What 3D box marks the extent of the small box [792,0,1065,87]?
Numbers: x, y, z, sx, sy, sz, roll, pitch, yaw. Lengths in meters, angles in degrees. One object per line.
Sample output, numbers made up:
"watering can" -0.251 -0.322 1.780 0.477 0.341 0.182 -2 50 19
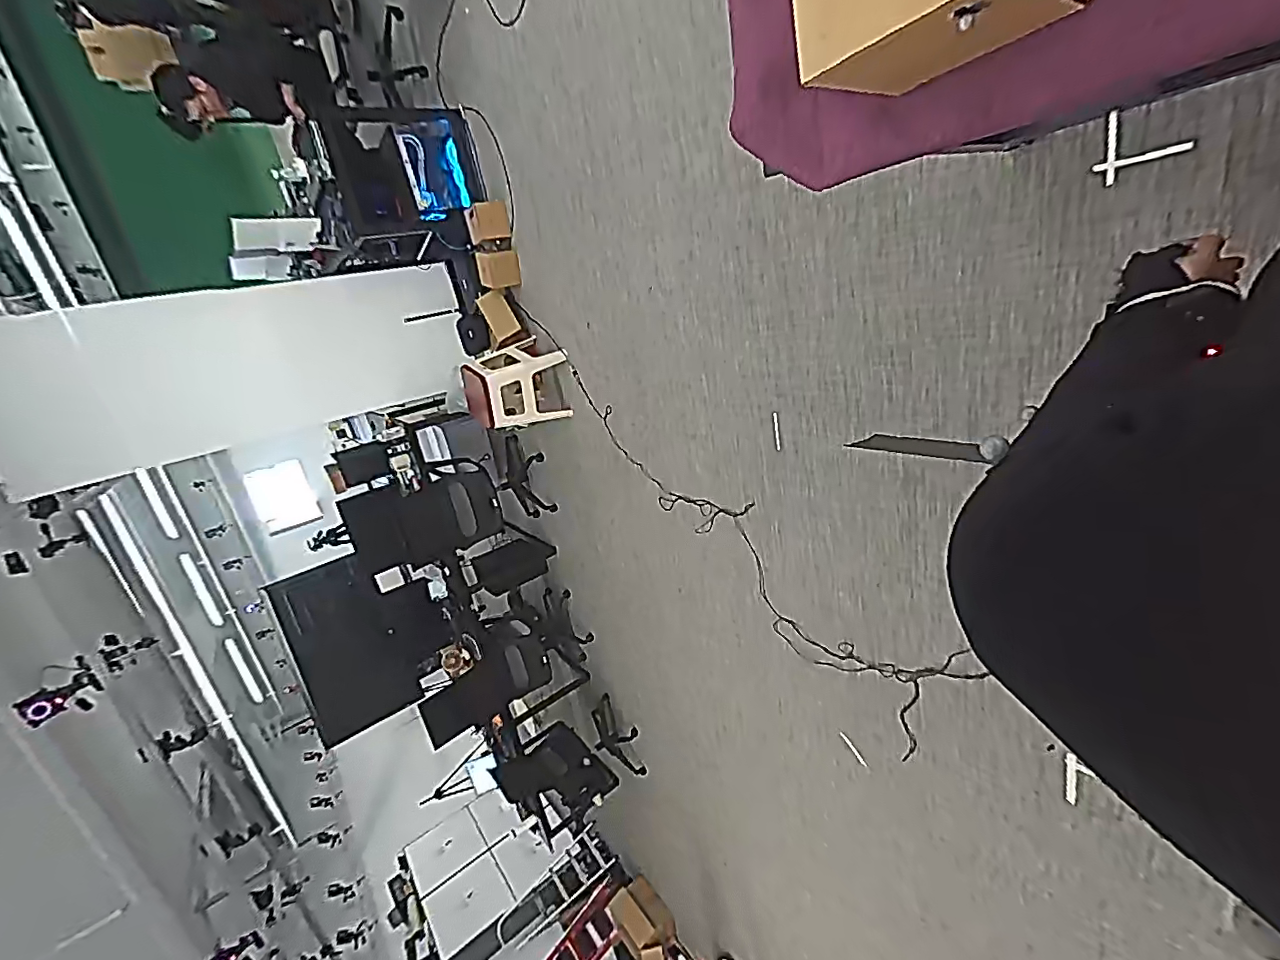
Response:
"small box" 0.250 -0.470 0.466 0.179 0.176 0.168 10 117 54
